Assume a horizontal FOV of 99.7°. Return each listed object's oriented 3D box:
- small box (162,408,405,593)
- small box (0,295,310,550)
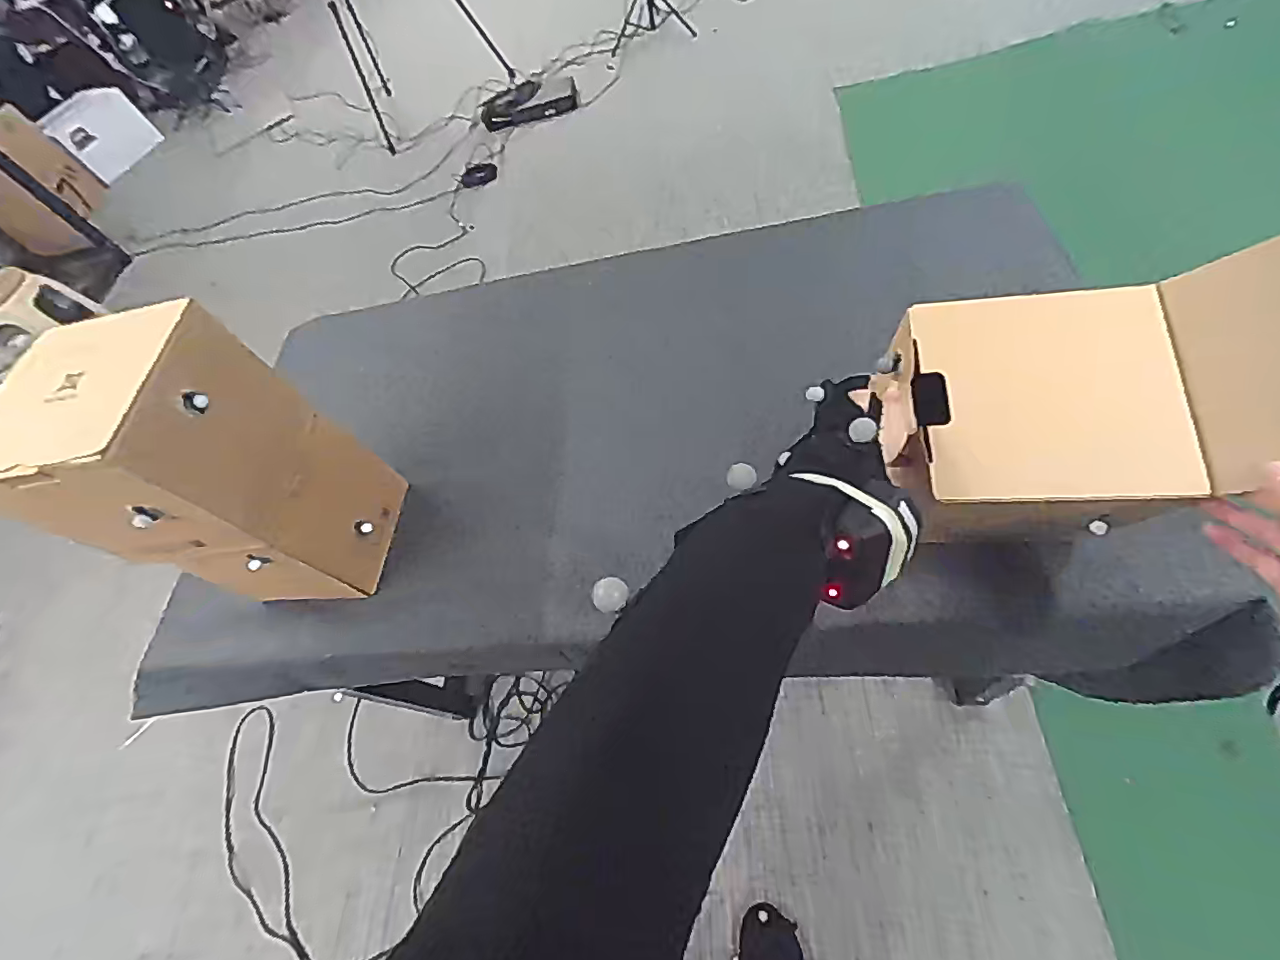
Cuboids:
[{"bbox_3d":[-0.429,0.034,0.661,0.179,0.176,0.168,-4,59,13],"label":"small box"},{"bbox_3d":[-0.461,-0.042,0.521,0.168,0.176,0.179,-8,57,9],"label":"small box"}]
